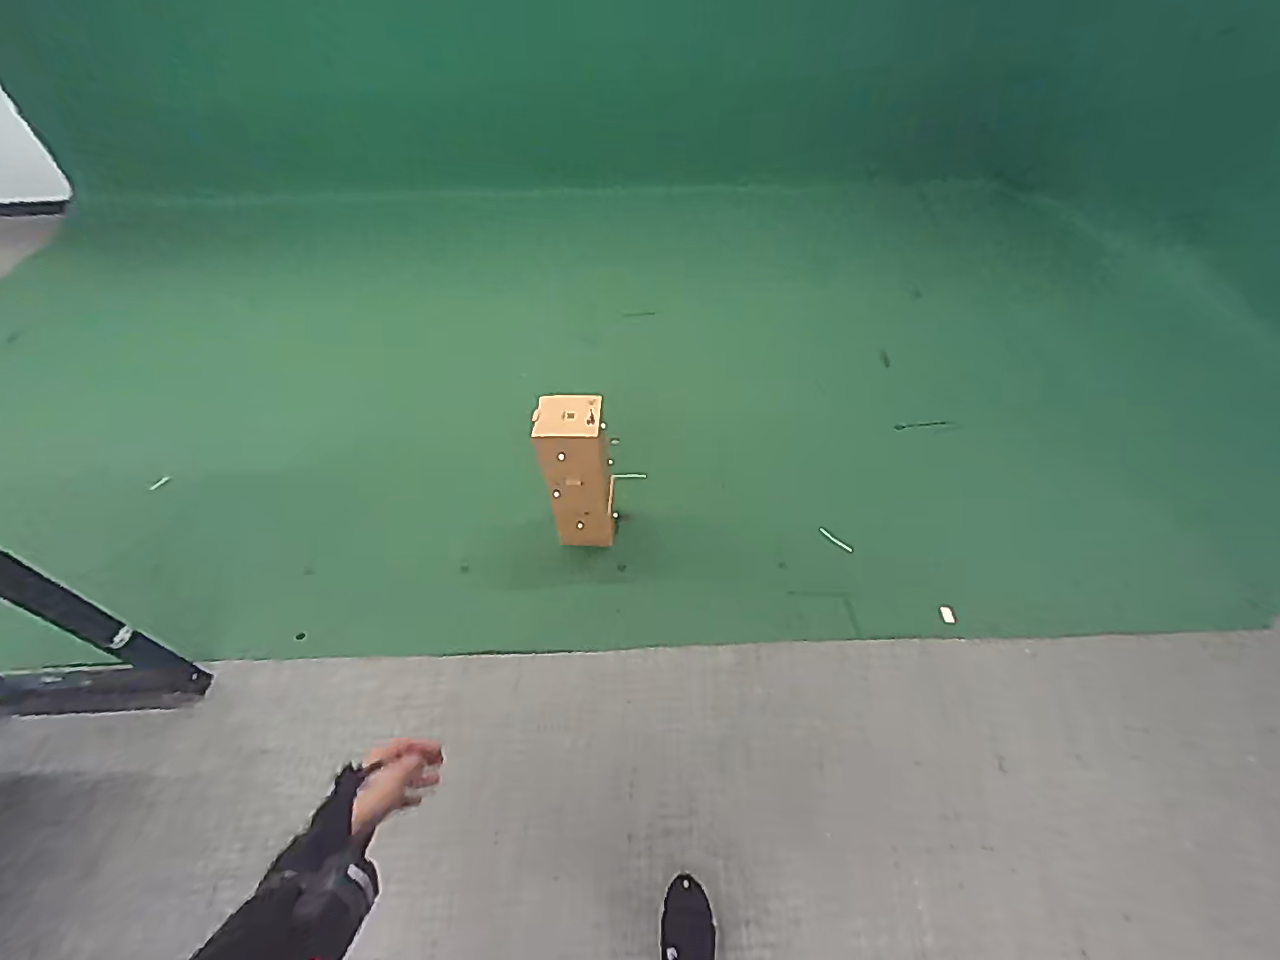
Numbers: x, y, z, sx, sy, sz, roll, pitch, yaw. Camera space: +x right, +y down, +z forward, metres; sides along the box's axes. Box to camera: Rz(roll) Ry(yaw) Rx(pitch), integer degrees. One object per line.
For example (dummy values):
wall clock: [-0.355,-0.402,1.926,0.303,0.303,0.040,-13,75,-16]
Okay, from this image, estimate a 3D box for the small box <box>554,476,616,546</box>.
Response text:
small box: [-0.170,0.100,1.745,0.179,0.176,0.168,1,50,3]

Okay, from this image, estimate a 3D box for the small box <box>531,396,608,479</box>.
small box: [-0.188,-0.116,1.498,0.179,0.176,0.168,0,49,2]
